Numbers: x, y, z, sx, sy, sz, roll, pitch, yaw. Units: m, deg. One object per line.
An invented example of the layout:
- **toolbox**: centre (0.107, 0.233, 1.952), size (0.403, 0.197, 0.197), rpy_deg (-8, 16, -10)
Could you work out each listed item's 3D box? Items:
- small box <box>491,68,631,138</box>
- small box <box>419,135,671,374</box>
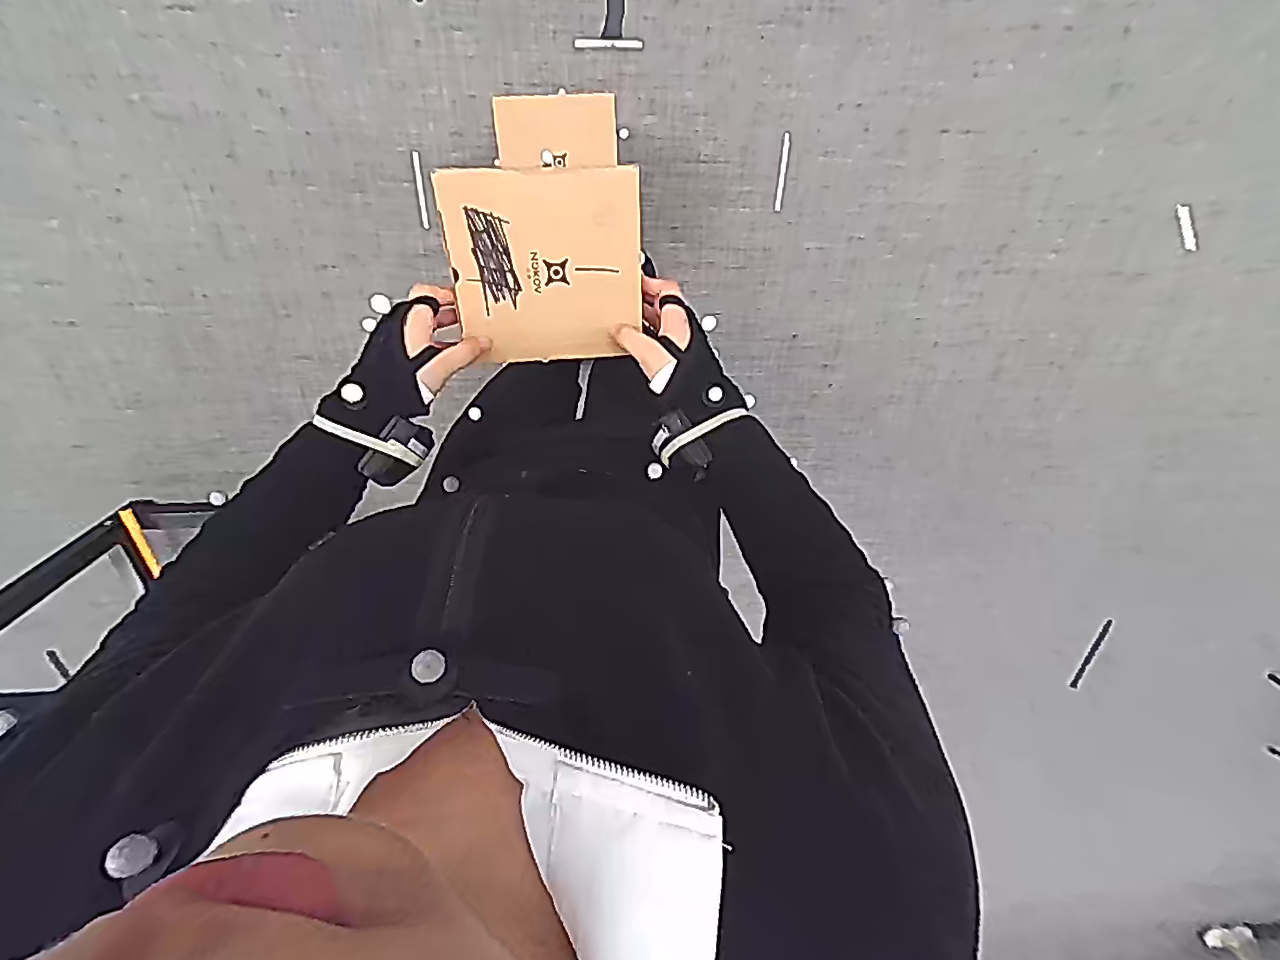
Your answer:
- **small box**: centre (-0.097, -0.444, 0.743), size (0.168, 0.176, 0.179), rpy_deg (-2, 120, -1)
- **small box**: centre (-0.072, -0.202, 0.478), size (0.179, 0.176, 0.168), rpy_deg (-5, 121, -6)
